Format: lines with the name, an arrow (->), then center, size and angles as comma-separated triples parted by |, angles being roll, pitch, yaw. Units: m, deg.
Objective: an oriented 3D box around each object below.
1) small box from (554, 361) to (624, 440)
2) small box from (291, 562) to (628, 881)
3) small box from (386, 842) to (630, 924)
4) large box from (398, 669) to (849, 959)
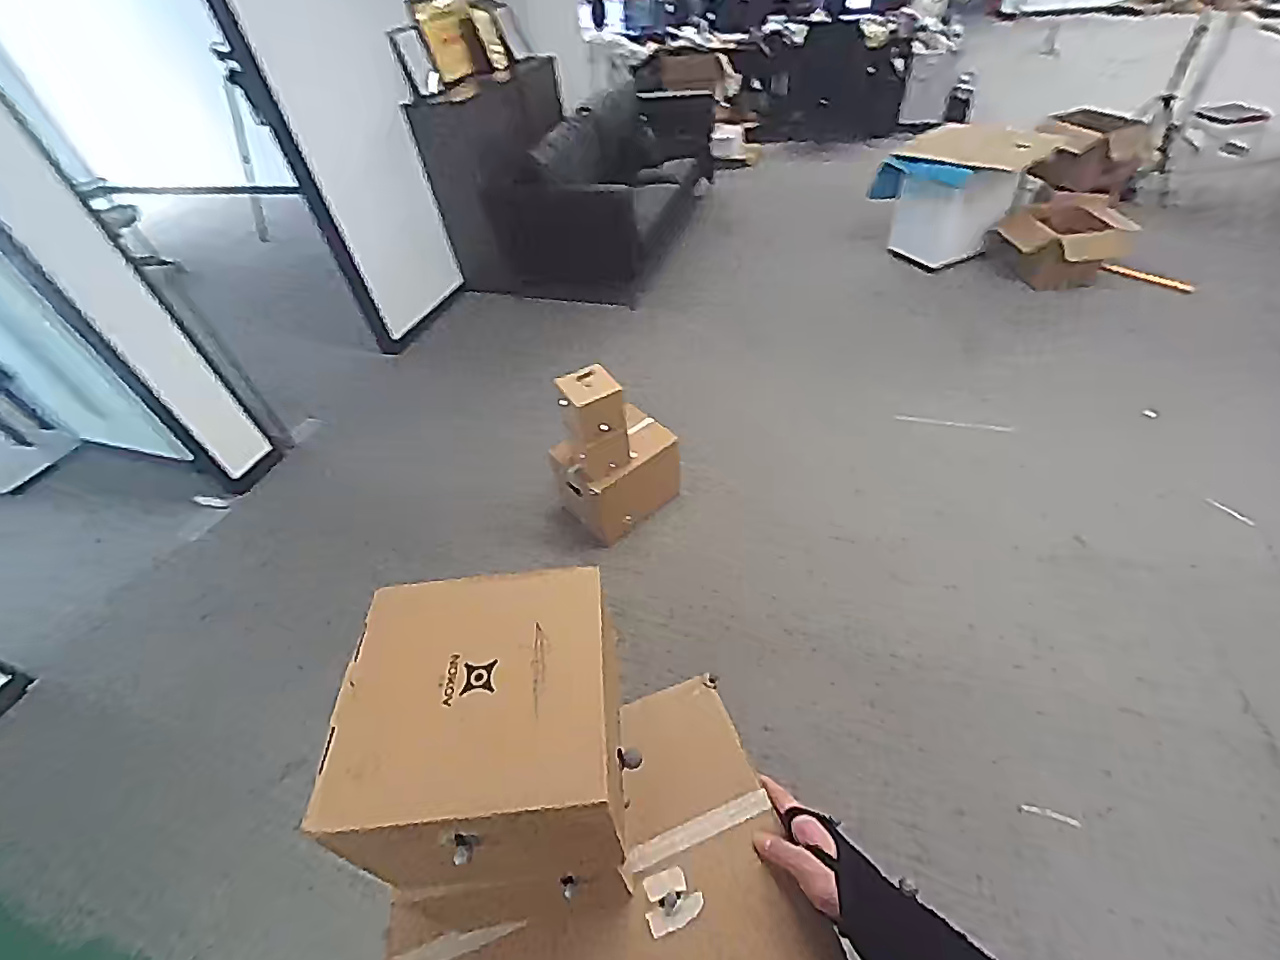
small box -> -0.168, -0.263, 1.798 | 0.168, 0.176, 0.179 | -26, 50, -17
small box -> -0.105, 0.184, 0.407 | 0.179, 0.176, 0.168 | -5, 45, 0
small box -> -0.111, 0.301, 0.521 | 0.179, 0.176, 0.168 | -8, 44, -3
large box -> -0.035, 0.503, 0.656 | 0.408, 0.320, 0.320 | -17, 47, -12
